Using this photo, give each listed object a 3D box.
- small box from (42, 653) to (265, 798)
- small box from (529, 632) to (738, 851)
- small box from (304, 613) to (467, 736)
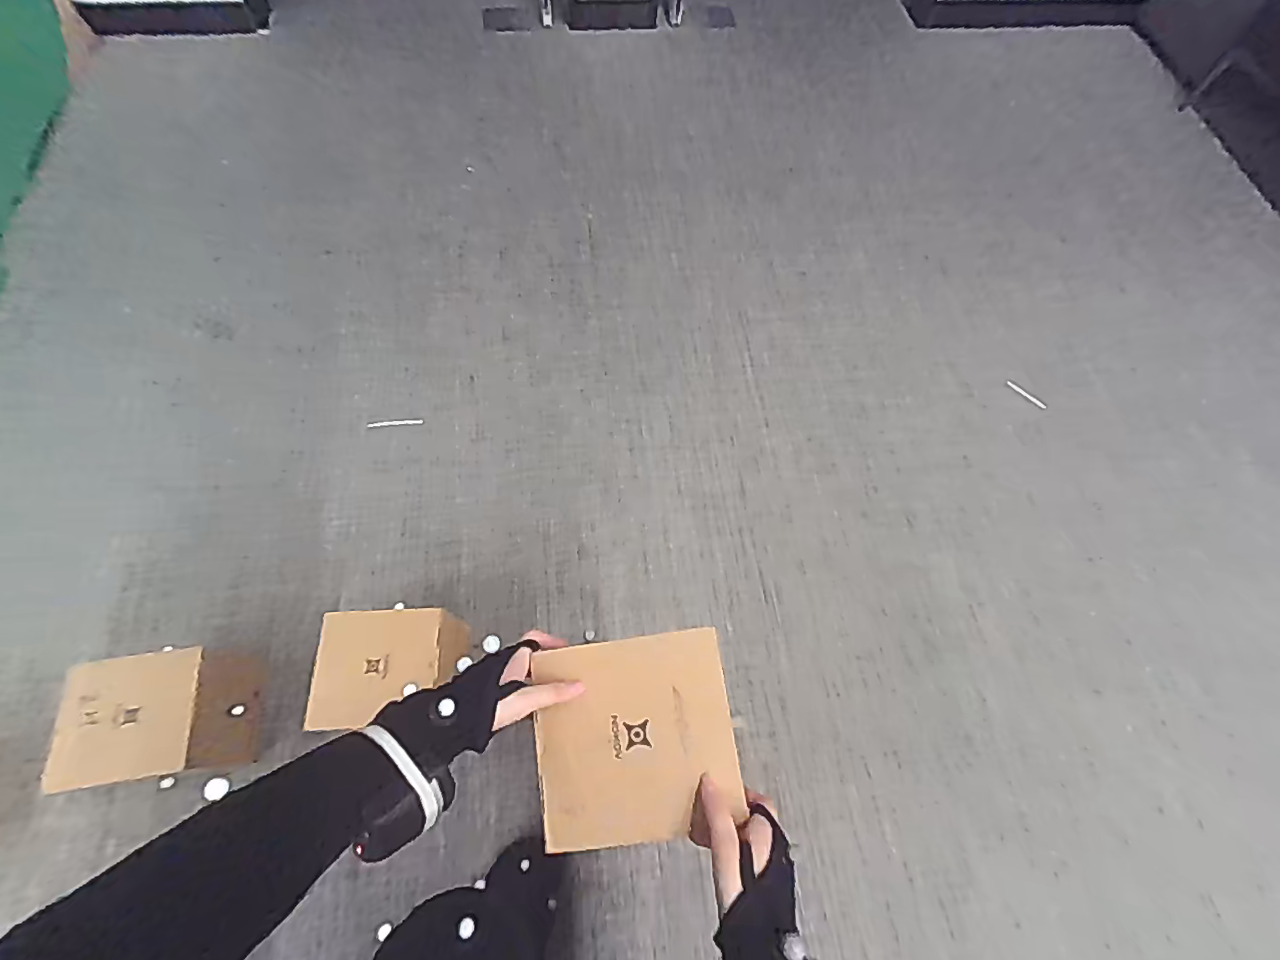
[{"bbox_3d":[-0.707,0.365,0.815,0.179,0.176,0.168,-7,65,-7],"label":"small box"},{"bbox_3d":[-0.002,0.254,0.558,0.179,0.176,0.168,-9,73,3],"label":"small box"},{"bbox_3d":[-0.388,0.313,0.860,0.179,0.176,0.168,-1,65,-5],"label":"small box"}]
